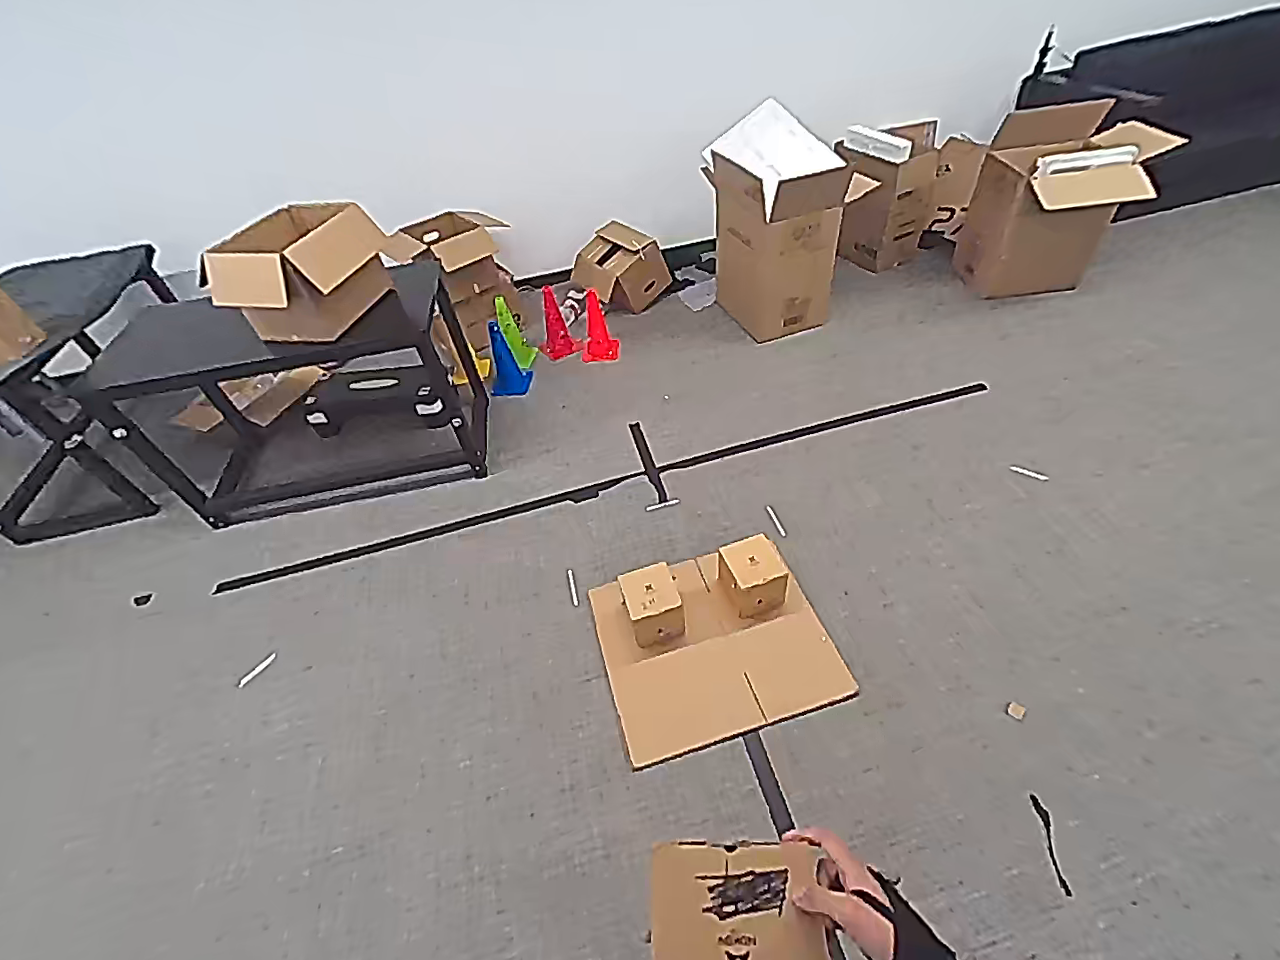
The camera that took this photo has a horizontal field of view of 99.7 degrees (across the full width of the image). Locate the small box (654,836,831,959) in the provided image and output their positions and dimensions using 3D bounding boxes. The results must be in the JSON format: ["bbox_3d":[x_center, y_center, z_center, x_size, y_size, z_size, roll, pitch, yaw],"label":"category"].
[{"bbox_3d":[0.100,0.486,0.563,0.168,0.176,0.179,-3,51,5],"label":"small box"}]

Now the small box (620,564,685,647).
[{"bbox_3d":[0.041,0.408,1.745,0.168,0.176,0.179,-16,46,-7],"label":"small box"}]

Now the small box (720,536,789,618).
[{"bbox_3d":[0.372,0.323,1.790,0.168,0.176,0.179,-18,47,-10],"label":"small box"}]
